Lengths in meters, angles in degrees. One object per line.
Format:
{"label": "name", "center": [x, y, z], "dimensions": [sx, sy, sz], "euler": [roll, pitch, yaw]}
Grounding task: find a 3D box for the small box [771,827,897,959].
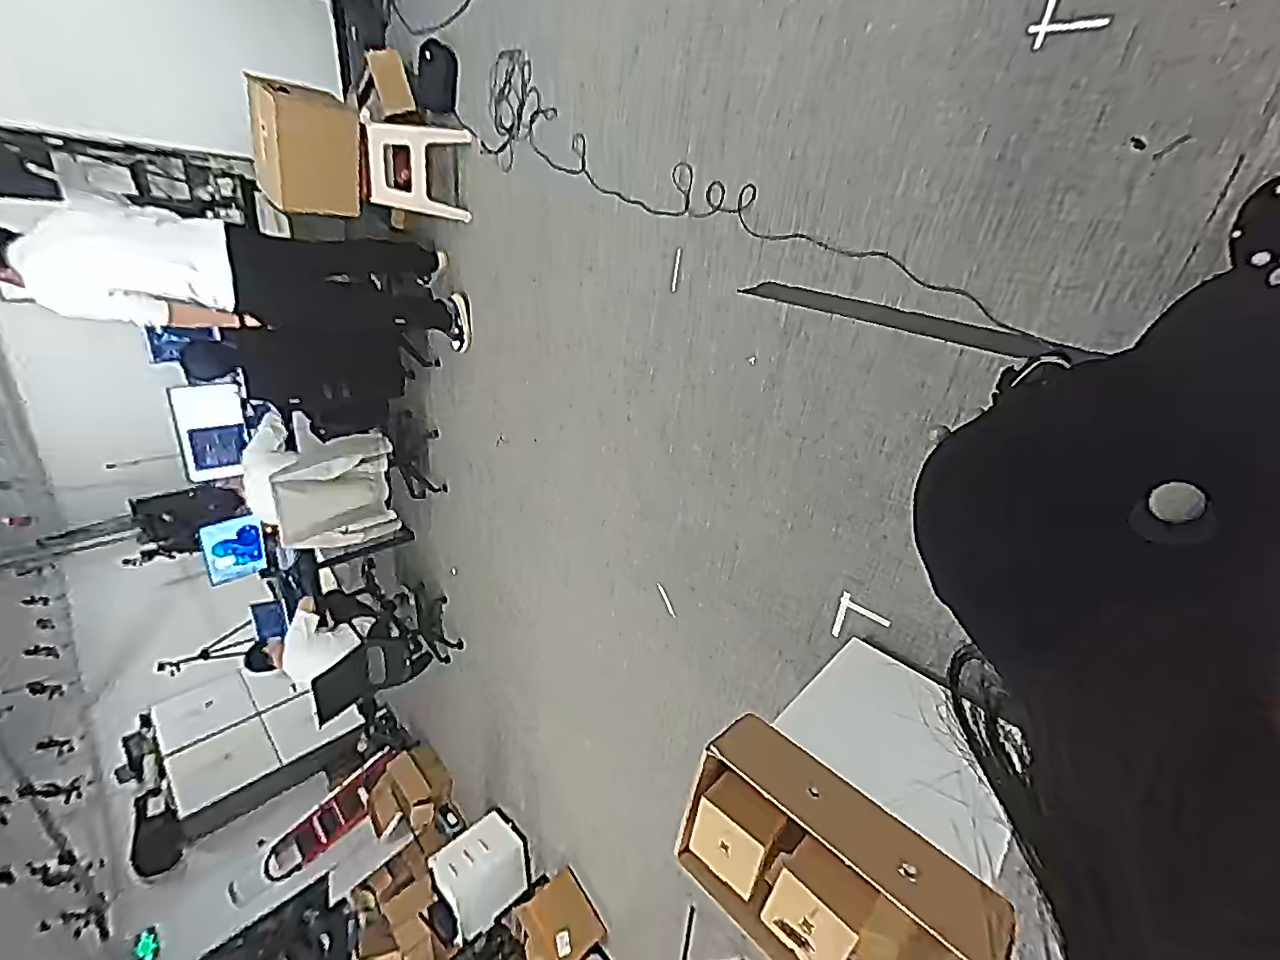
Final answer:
{"label": "small box", "center": [0.405, 0.882, 1.124], "dimensions": [0.168, 0.176, 0.179], "euler": [29, 117, 36]}
